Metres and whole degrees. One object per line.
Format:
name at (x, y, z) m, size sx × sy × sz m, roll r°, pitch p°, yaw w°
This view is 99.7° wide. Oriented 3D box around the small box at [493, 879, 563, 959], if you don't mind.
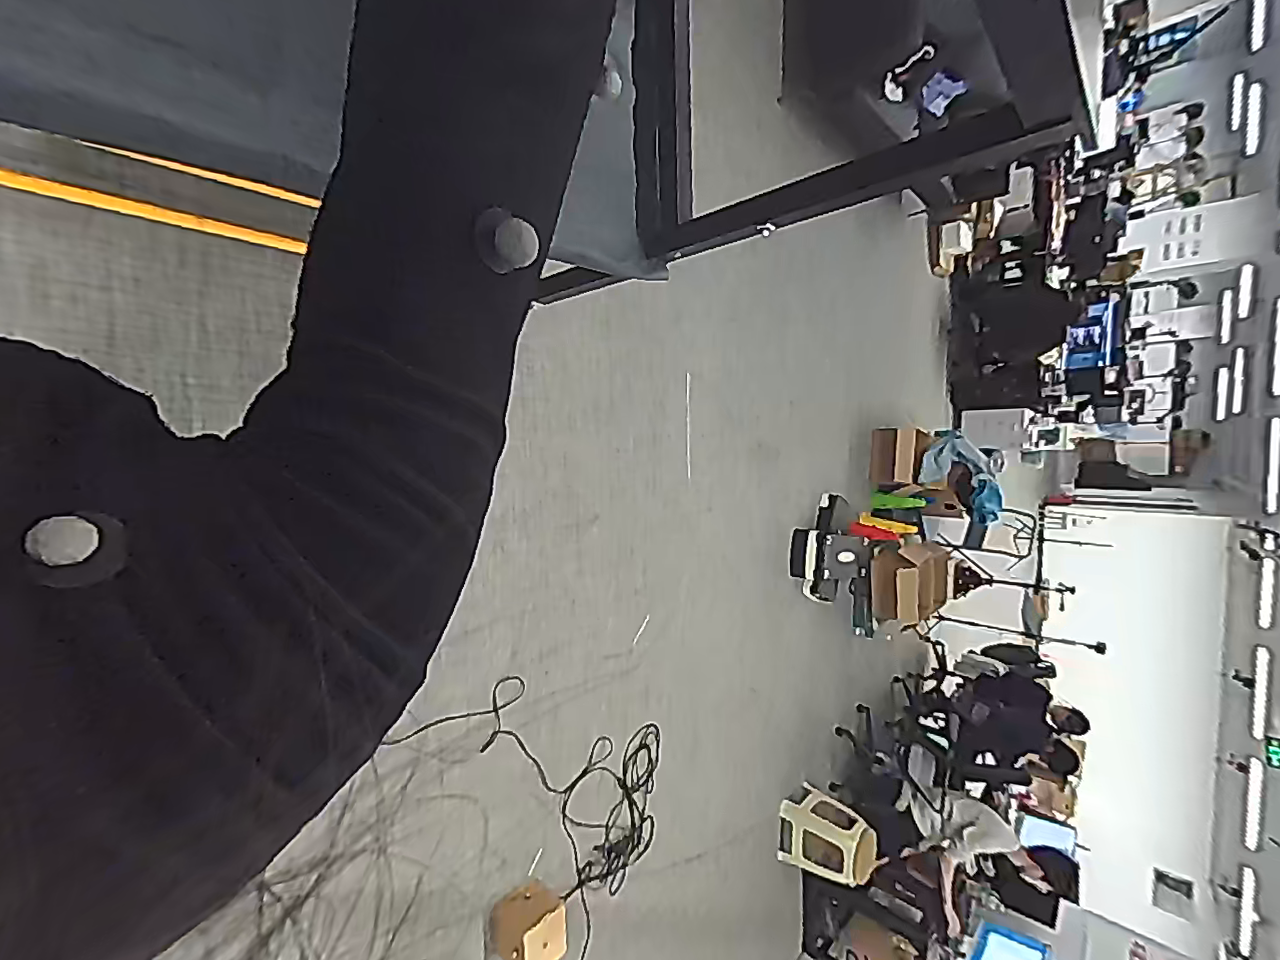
small box at (-0.372, 1.485, 1.792) m, size 0.168 × 0.176 × 0.179 m, roll -5°, pitch 95°, yaw -47°
